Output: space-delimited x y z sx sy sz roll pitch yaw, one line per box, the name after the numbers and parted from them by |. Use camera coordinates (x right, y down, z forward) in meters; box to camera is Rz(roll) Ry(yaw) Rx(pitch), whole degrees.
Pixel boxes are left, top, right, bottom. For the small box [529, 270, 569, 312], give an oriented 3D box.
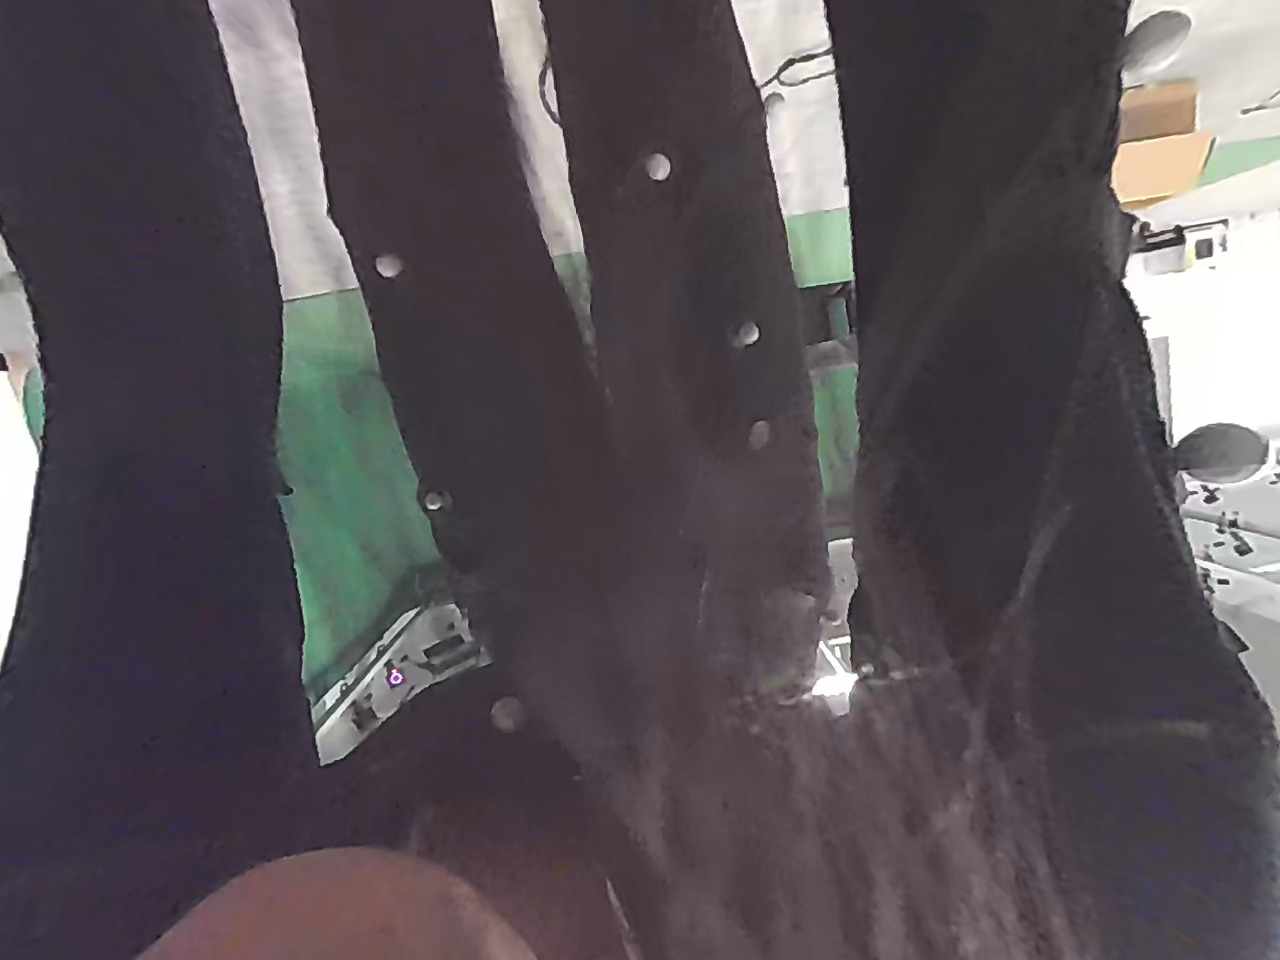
-0.477 -0.988 2.831 0.179 0.176 0.168 -10 -169 -2 | small box
